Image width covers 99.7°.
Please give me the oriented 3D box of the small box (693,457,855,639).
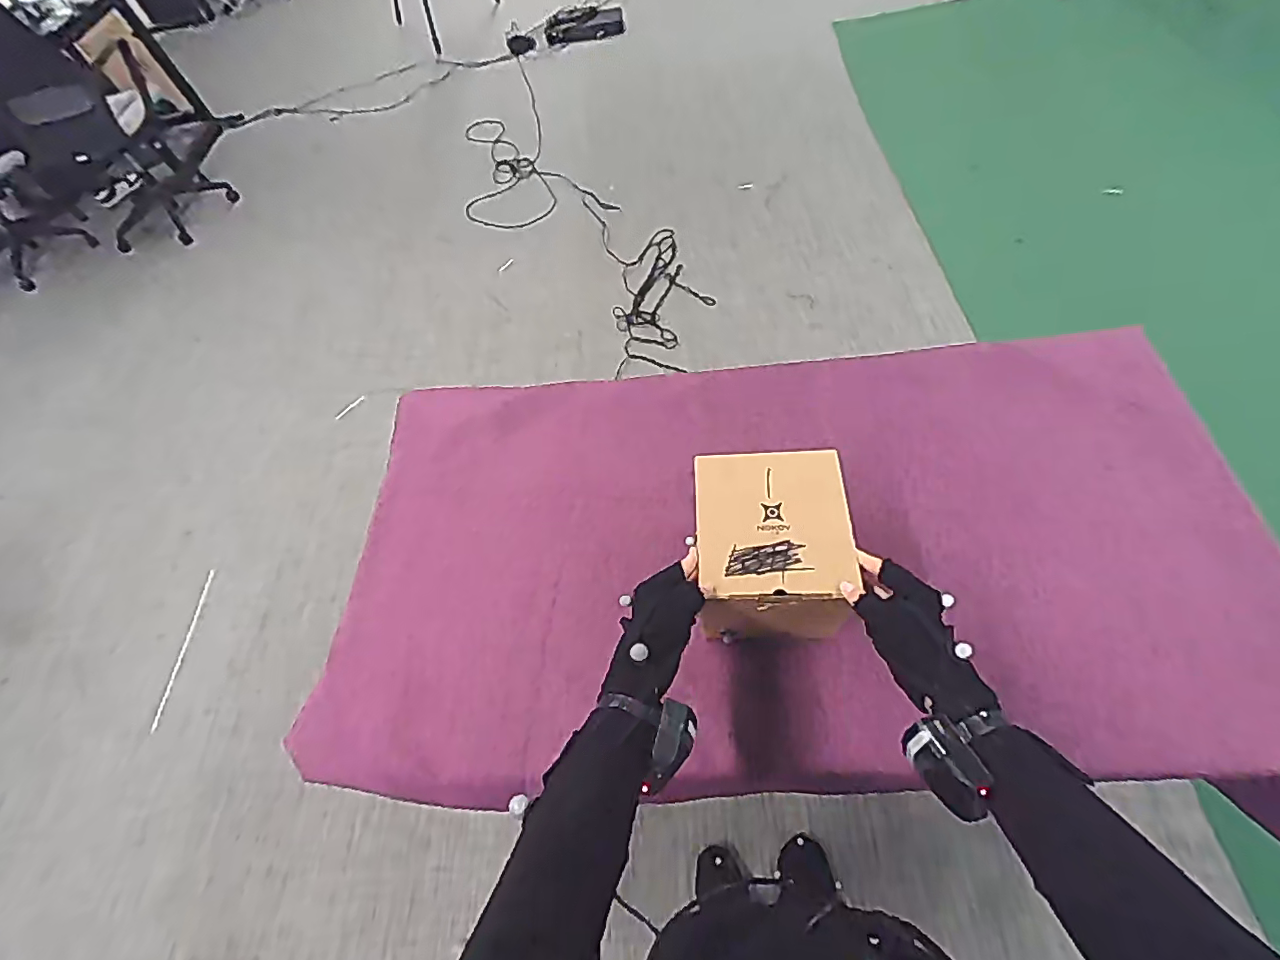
[{"bbox_3d":[0.152,0.091,0.665,0.168,0.176,0.179,-2,58,7],"label":"small box"}]
